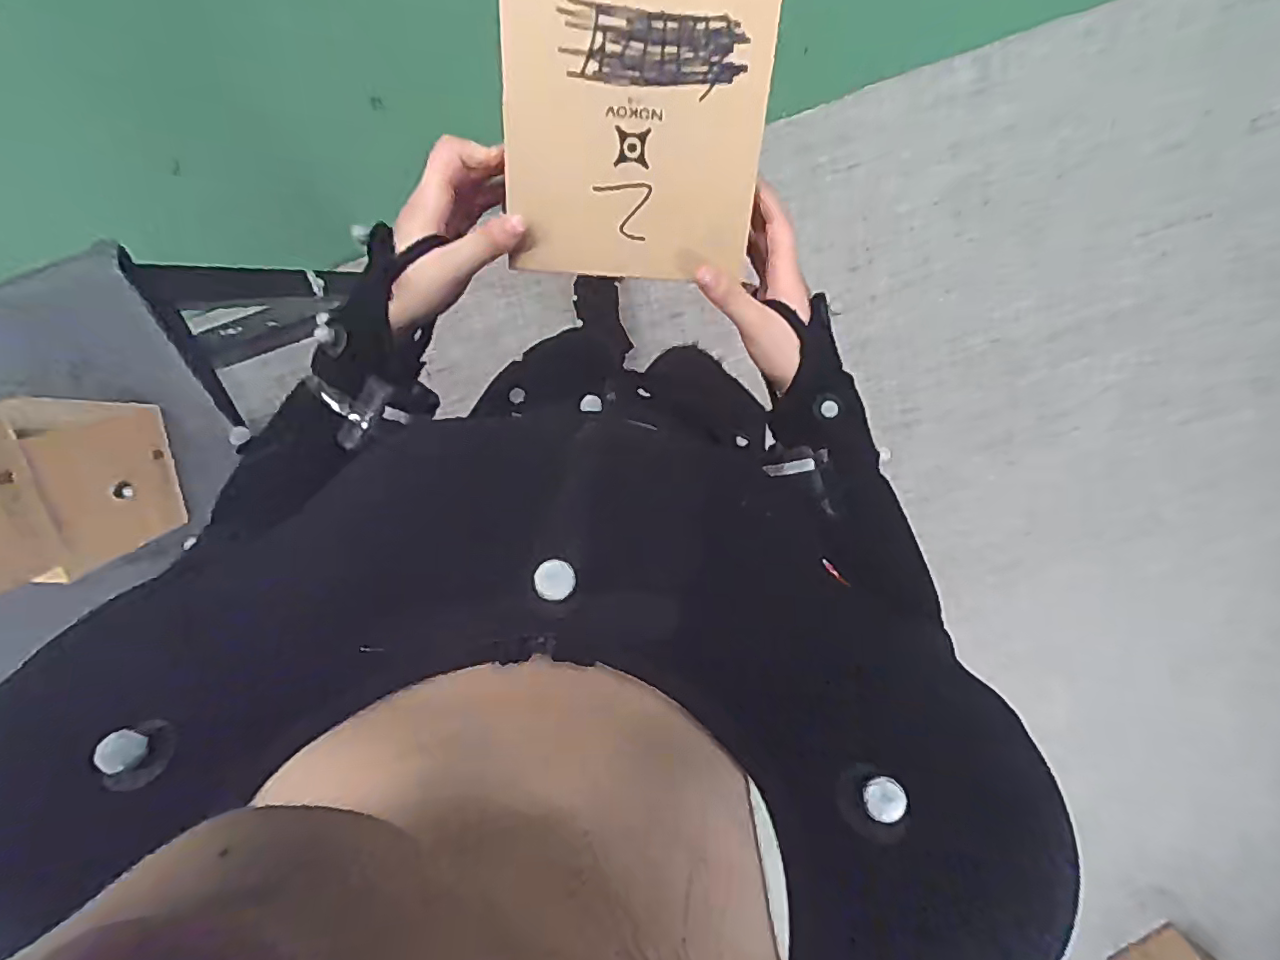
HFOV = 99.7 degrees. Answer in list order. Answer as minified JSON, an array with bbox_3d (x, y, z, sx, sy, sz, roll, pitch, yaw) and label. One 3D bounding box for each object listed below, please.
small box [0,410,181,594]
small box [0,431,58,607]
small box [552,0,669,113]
[{"bbox_3d":[-0.694,0.017,0.638,0.179,0.176,0.168,3,109,0],"label":"small box"},{"bbox_3d":[-0.690,0.052,0.479,0.179,0.176,0.168,-2,109,2],"label":"small box"},{"bbox_3d":[-0.058,-0.889,1.105,0.179,0.176,0.168,27,107,-10],"label":"small box"}]
